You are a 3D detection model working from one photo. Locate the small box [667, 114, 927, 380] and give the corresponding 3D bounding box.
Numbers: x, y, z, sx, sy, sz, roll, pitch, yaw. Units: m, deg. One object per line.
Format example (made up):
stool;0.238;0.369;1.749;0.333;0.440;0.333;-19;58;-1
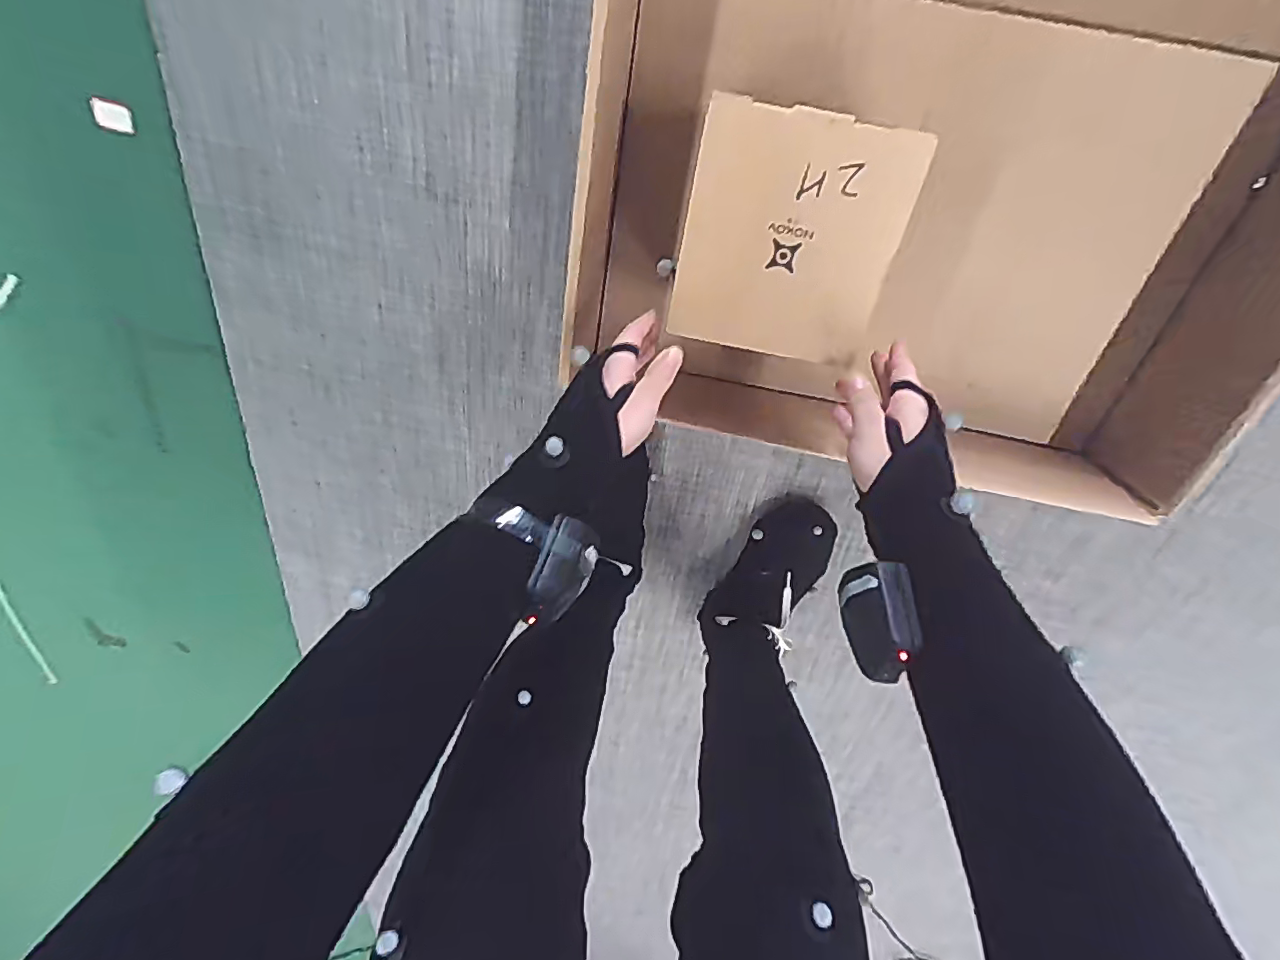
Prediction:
small box;0.127;-0.218;0.508;0.168;0.176;0.179;12;120;0
